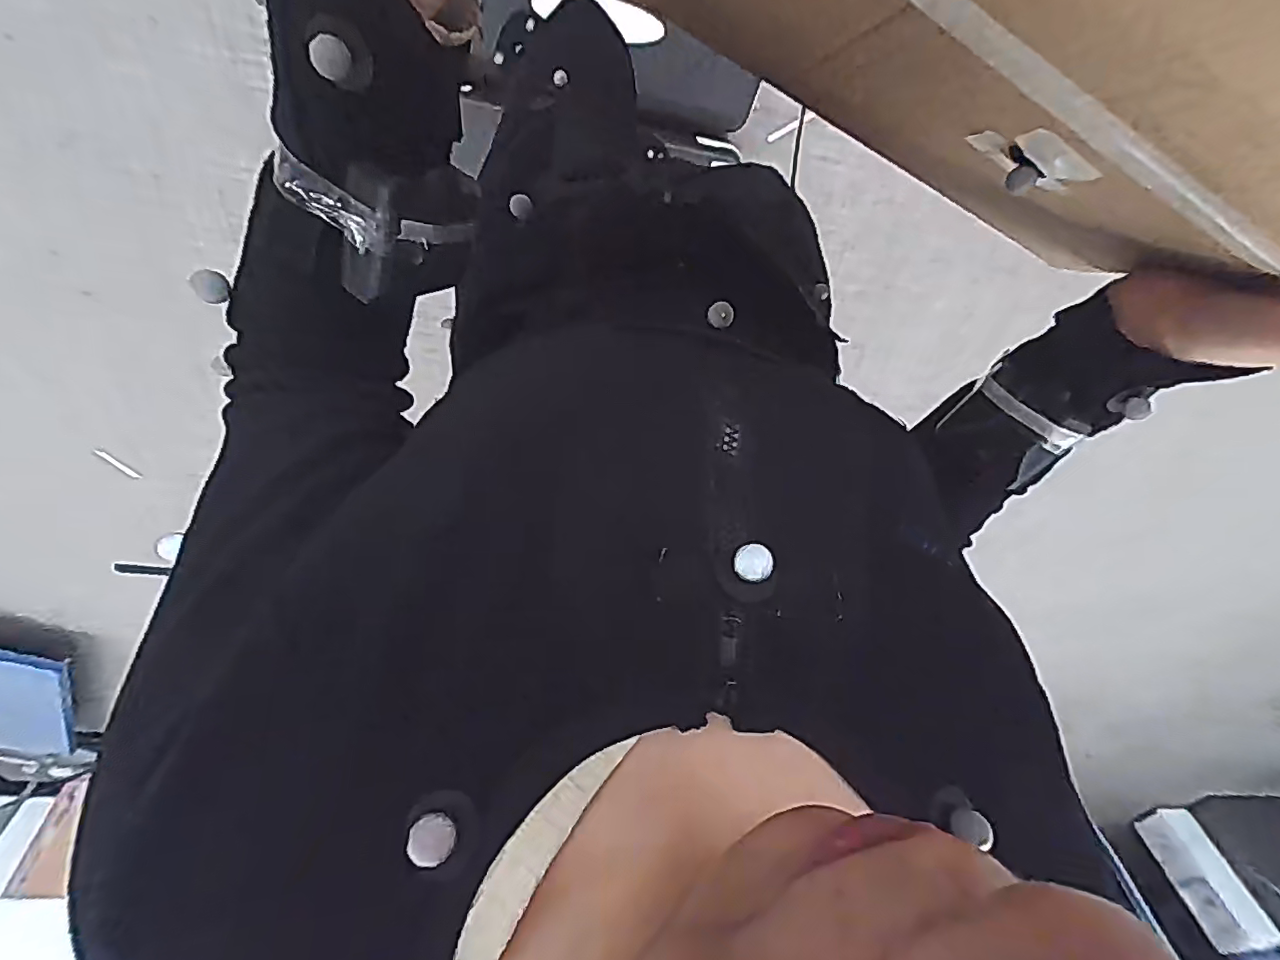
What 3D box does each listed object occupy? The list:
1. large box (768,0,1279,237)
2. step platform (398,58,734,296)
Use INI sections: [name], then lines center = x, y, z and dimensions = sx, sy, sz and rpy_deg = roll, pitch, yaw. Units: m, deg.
[large box]
center = 0.205, -0.293, 0.111
dimensions = 0.408, 0.320, 0.320
rpy_deg = 19, 112, -16
[step platform]
center = -0.147, -0.630, 1.164
dimensions = 0.684, 0.204, 0.286
rpy_deg = 12, 127, -11
